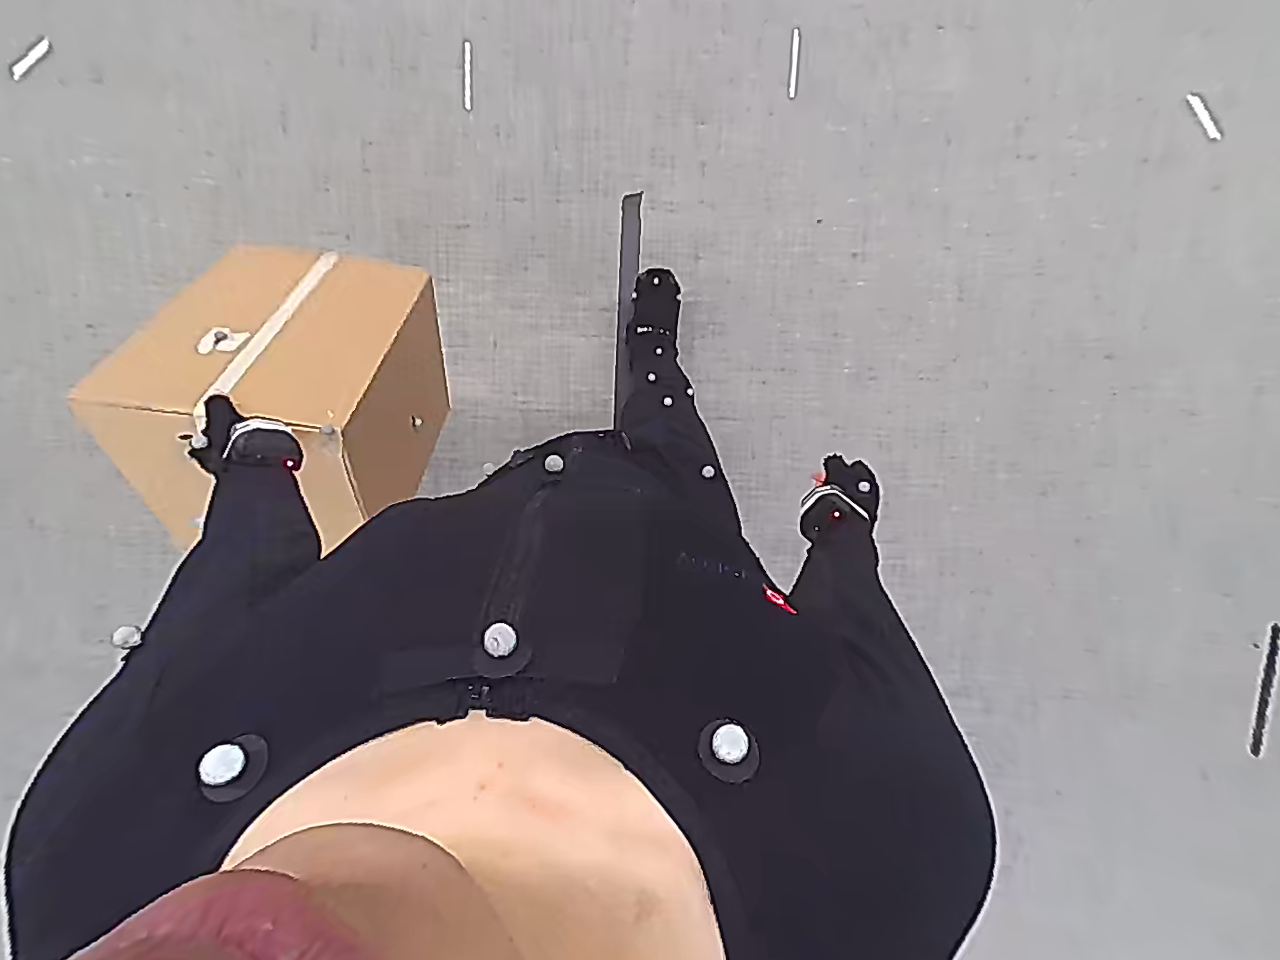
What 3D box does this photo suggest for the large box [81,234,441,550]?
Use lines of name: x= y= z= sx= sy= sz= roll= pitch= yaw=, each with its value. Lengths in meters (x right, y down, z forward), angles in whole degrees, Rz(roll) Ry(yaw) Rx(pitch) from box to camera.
large box: x=-0.547 y=-0.144 z=0.902 sx=0.320 sy=0.408 sz=0.320 roll=7 pitch=140 yaw=-6
